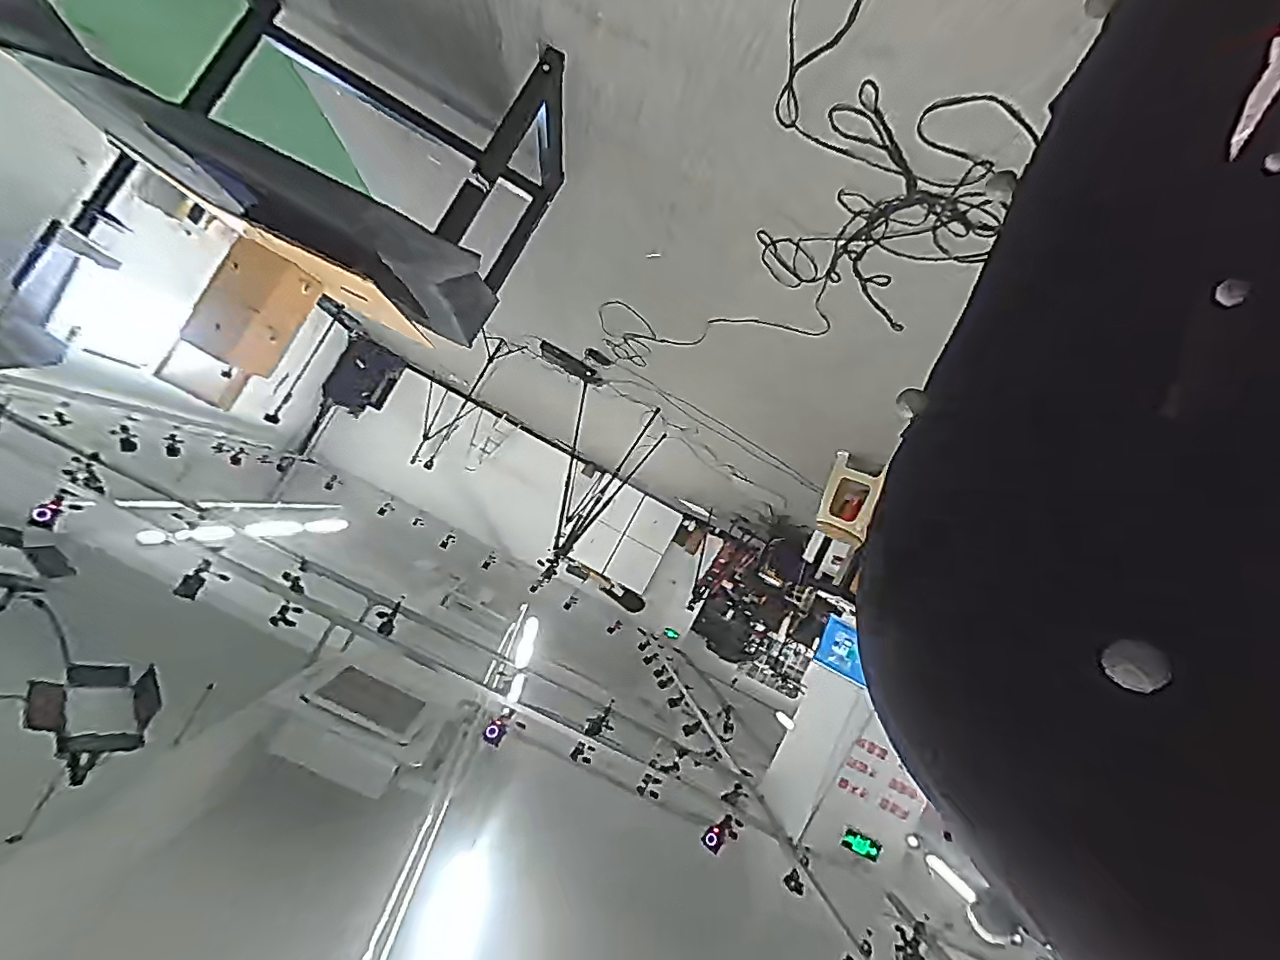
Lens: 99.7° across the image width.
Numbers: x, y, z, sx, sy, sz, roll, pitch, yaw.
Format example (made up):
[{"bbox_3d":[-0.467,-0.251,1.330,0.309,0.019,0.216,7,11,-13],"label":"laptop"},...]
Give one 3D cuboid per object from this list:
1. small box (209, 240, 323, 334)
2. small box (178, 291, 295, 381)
[{"bbox_3d":[-1.064,-0.558,1.555,0.179,0.176,0.168,28,177,3],"label":"small box"},{"bbox_3d":[-1.144,-0.414,1.547,0.179,0.176,0.168,28,177,4],"label":"small box"}]
